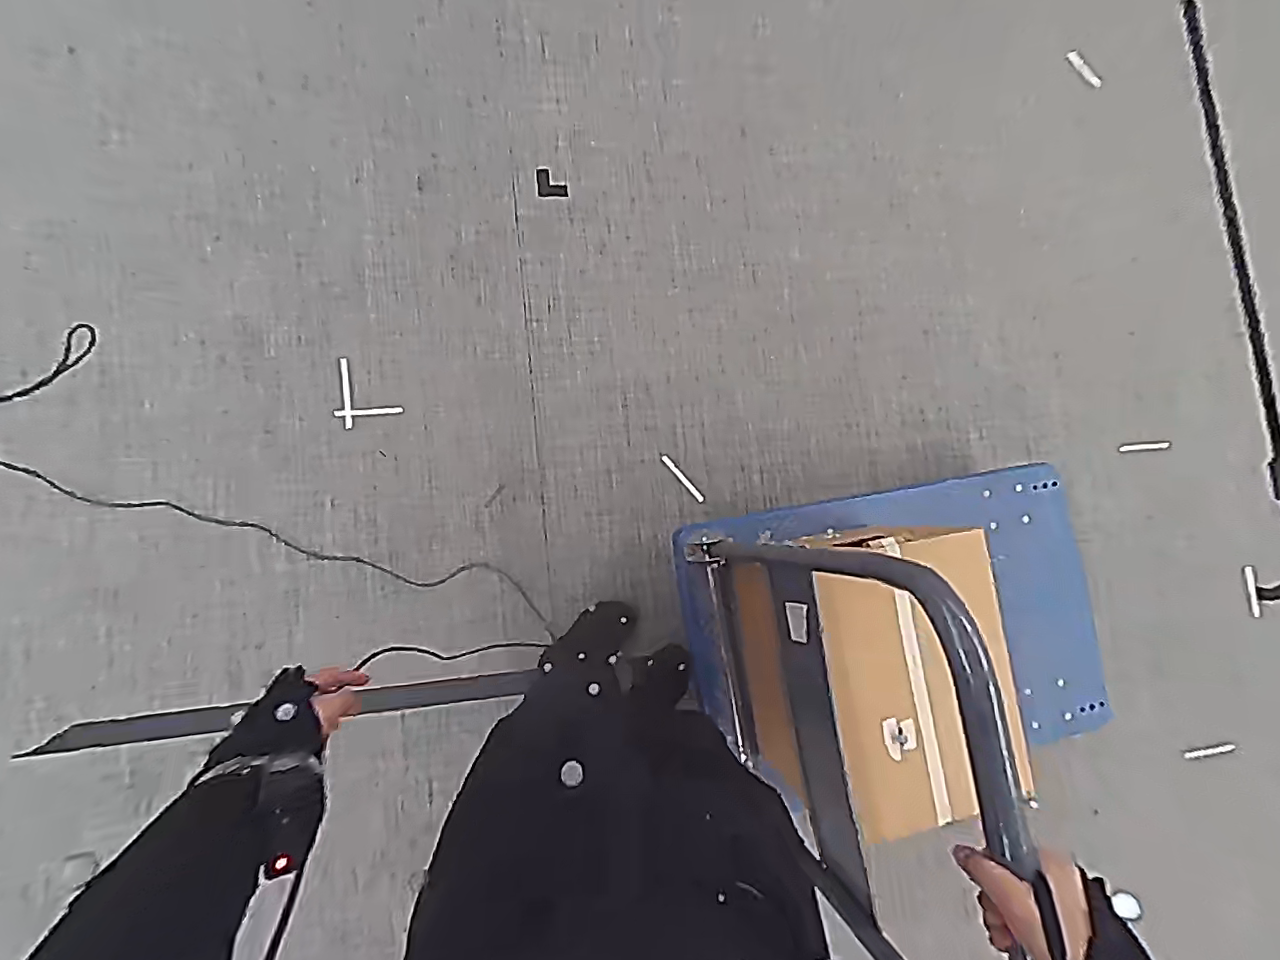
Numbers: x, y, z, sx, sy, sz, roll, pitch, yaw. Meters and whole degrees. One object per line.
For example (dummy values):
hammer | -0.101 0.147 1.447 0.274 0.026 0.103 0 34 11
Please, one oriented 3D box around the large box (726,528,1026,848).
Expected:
large box | 0.371 0.308 0.936 0.320 0.320 0.408 -9 87 -9
